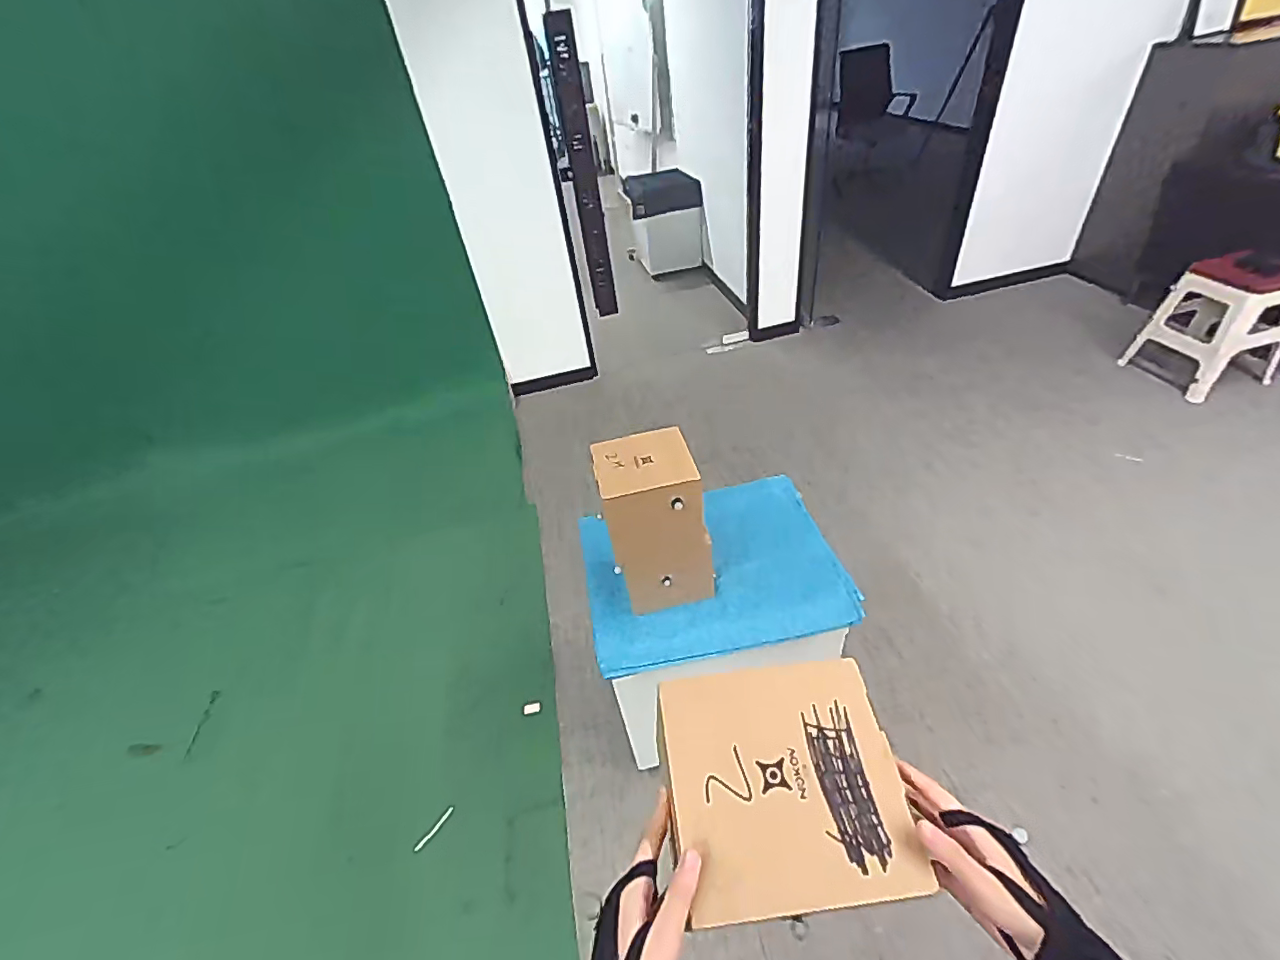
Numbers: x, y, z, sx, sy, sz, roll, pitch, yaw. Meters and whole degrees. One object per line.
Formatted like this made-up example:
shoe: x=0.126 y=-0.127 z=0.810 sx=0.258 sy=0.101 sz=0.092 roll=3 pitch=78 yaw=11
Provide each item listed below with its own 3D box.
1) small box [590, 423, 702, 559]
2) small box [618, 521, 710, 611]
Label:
small box: x=0.012 y=0.021 z=1.005 sx=0.179 sy=0.176 sz=0.168 roll=-12 pitch=40 yaw=-4
small box: x=0.040 y=0.142 z=1.113 sx=0.179 sy=0.176 sz=0.168 roll=-13 pitch=40 yaw=-3
